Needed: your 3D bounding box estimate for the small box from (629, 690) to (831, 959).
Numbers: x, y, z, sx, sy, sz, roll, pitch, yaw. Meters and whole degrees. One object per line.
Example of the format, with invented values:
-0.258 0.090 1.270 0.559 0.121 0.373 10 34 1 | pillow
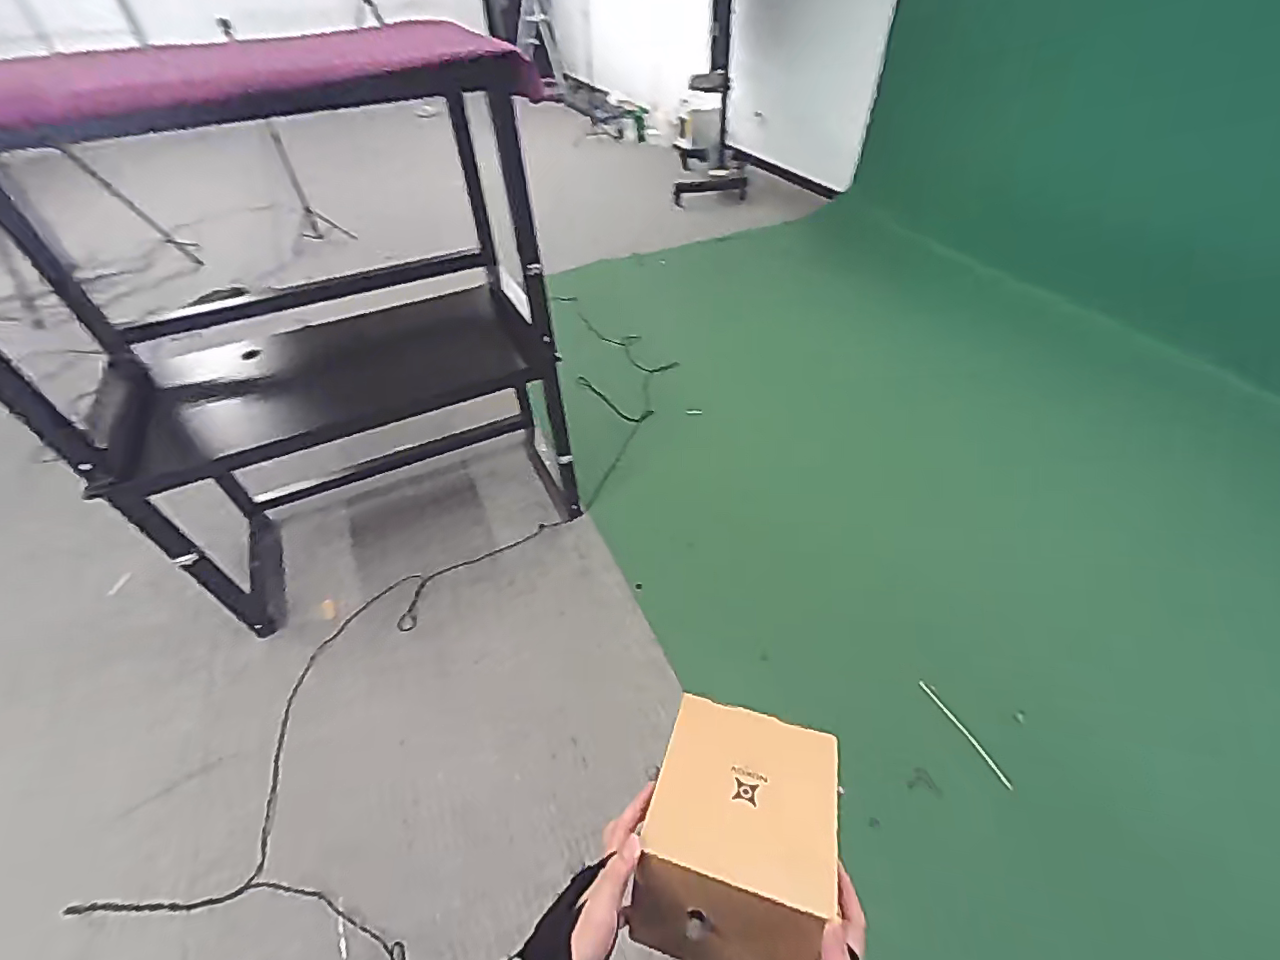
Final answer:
0.092 0.356 0.549 0.168 0.176 0.179 11 29 14 | small box
